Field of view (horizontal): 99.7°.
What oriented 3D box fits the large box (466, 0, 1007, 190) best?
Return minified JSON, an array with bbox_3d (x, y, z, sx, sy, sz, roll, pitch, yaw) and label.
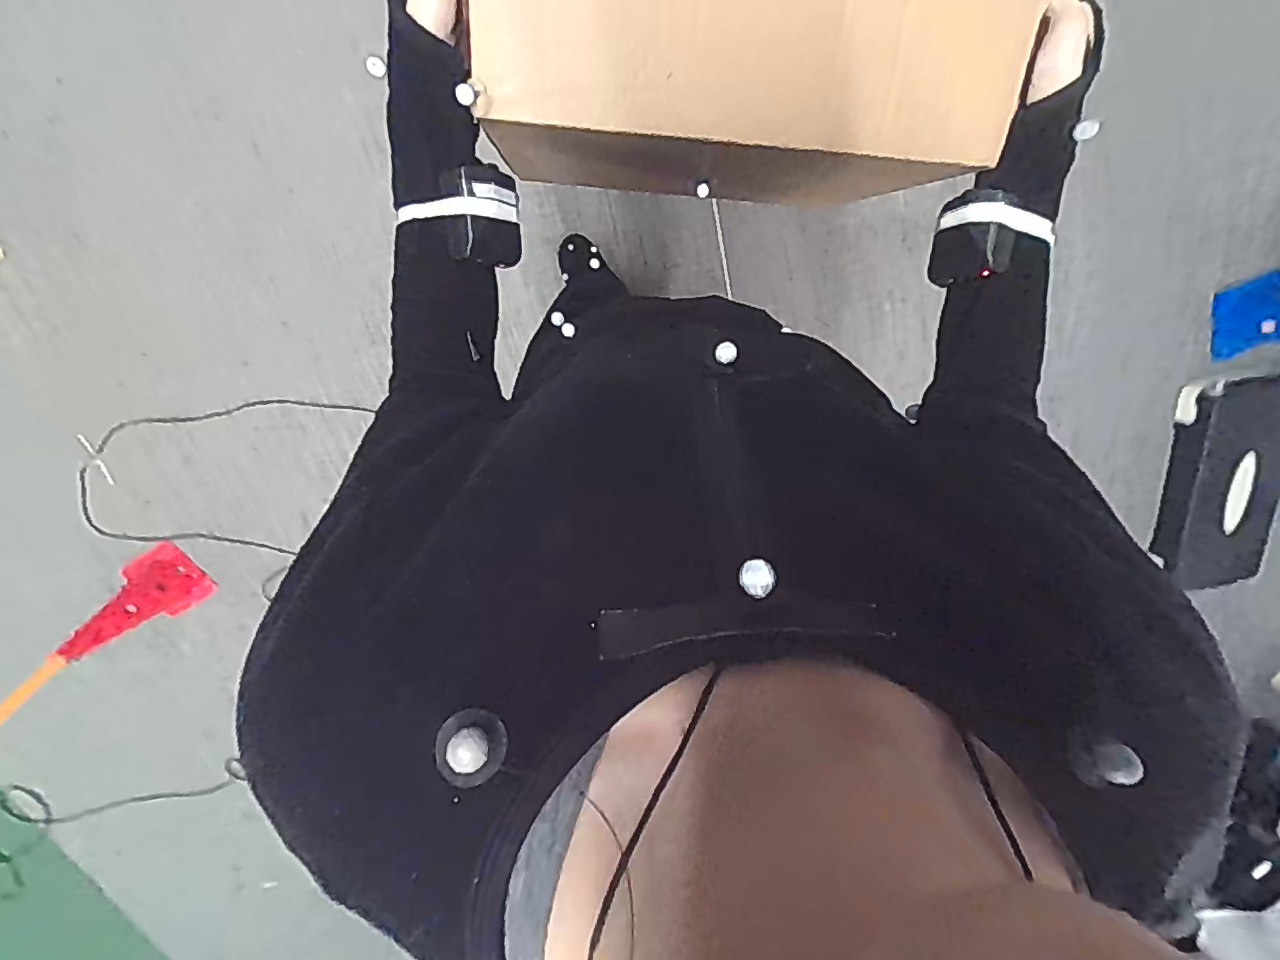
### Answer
[{"bbox_3d":[0.068,-0.462,0.501,0.408,0.320,0.320,0,111,-6],"label":"large box"}]
